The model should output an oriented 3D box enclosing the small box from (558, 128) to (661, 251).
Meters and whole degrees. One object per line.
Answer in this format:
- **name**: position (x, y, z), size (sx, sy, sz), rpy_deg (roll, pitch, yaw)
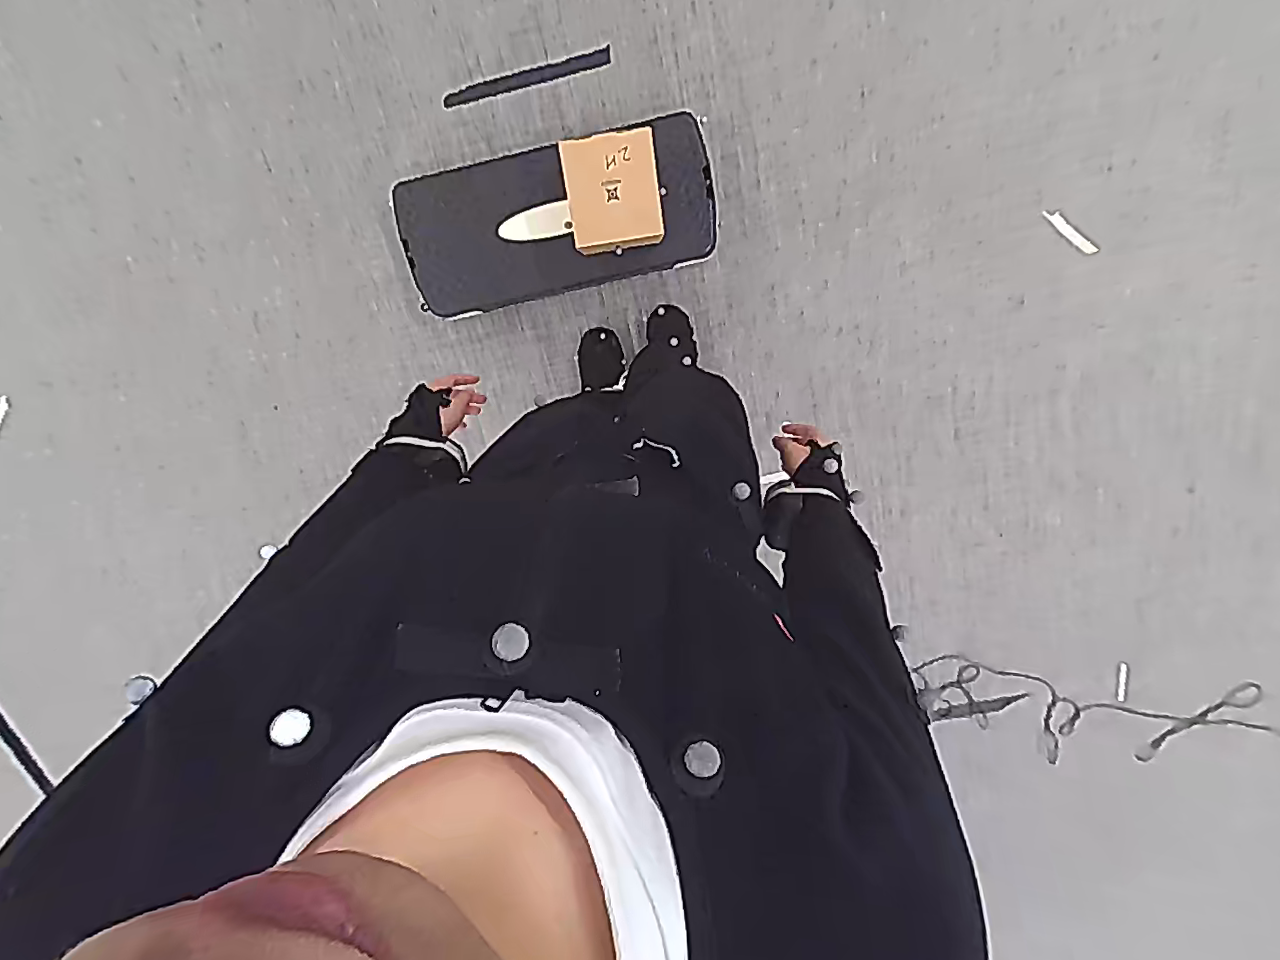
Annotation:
- **small box**: position (-0.052, -0.542, 1.035), size (0.168, 0.176, 0.179), rpy_deg (-8, 108, 1)
